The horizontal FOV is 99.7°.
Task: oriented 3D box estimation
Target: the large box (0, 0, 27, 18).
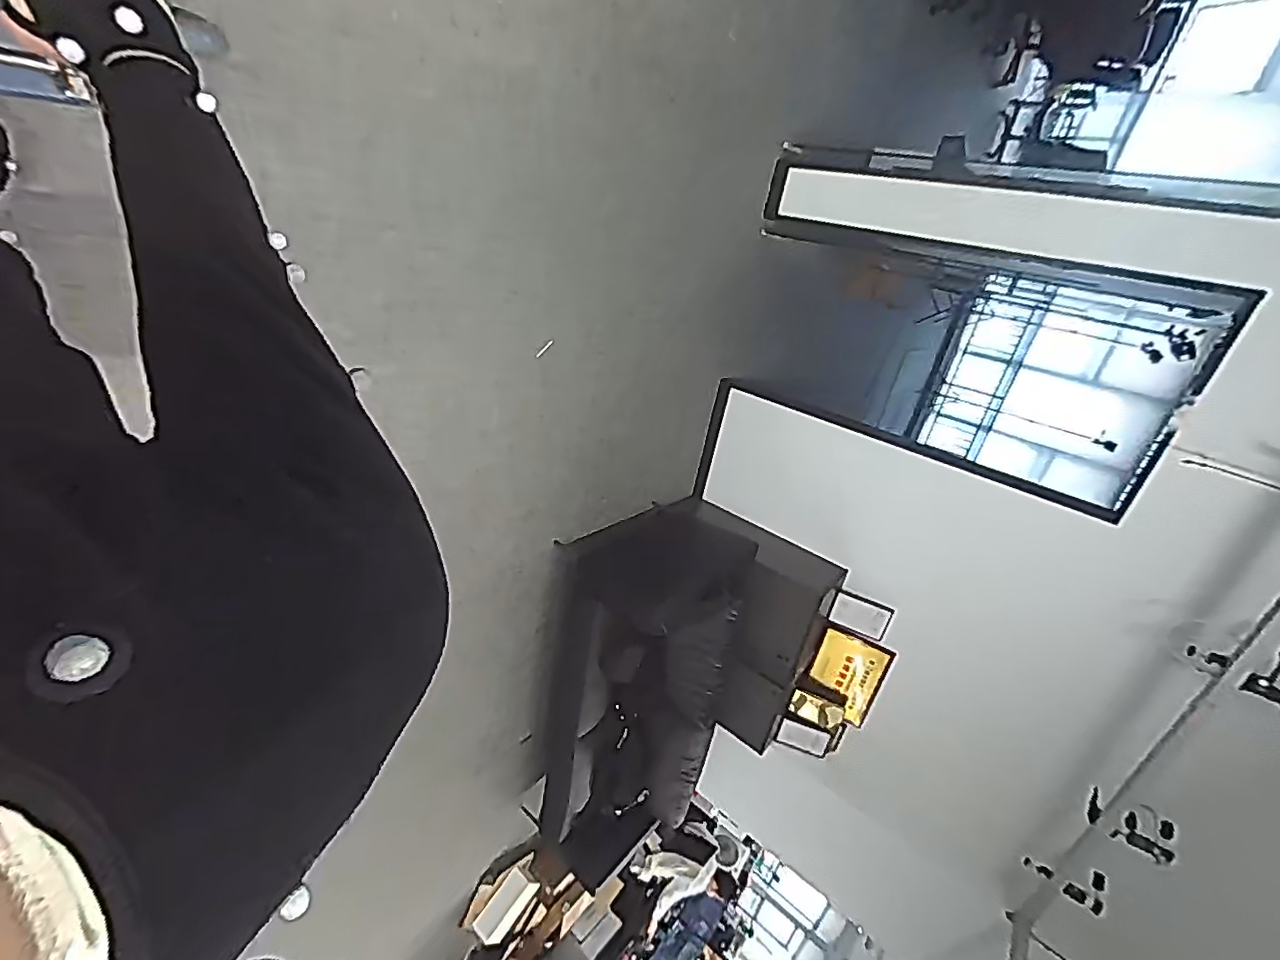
[{"bbox_3d":[-0.912,-0.756,0.528,0.320,0.320,0.408,-24,130,-48],"label":"large box"}]
